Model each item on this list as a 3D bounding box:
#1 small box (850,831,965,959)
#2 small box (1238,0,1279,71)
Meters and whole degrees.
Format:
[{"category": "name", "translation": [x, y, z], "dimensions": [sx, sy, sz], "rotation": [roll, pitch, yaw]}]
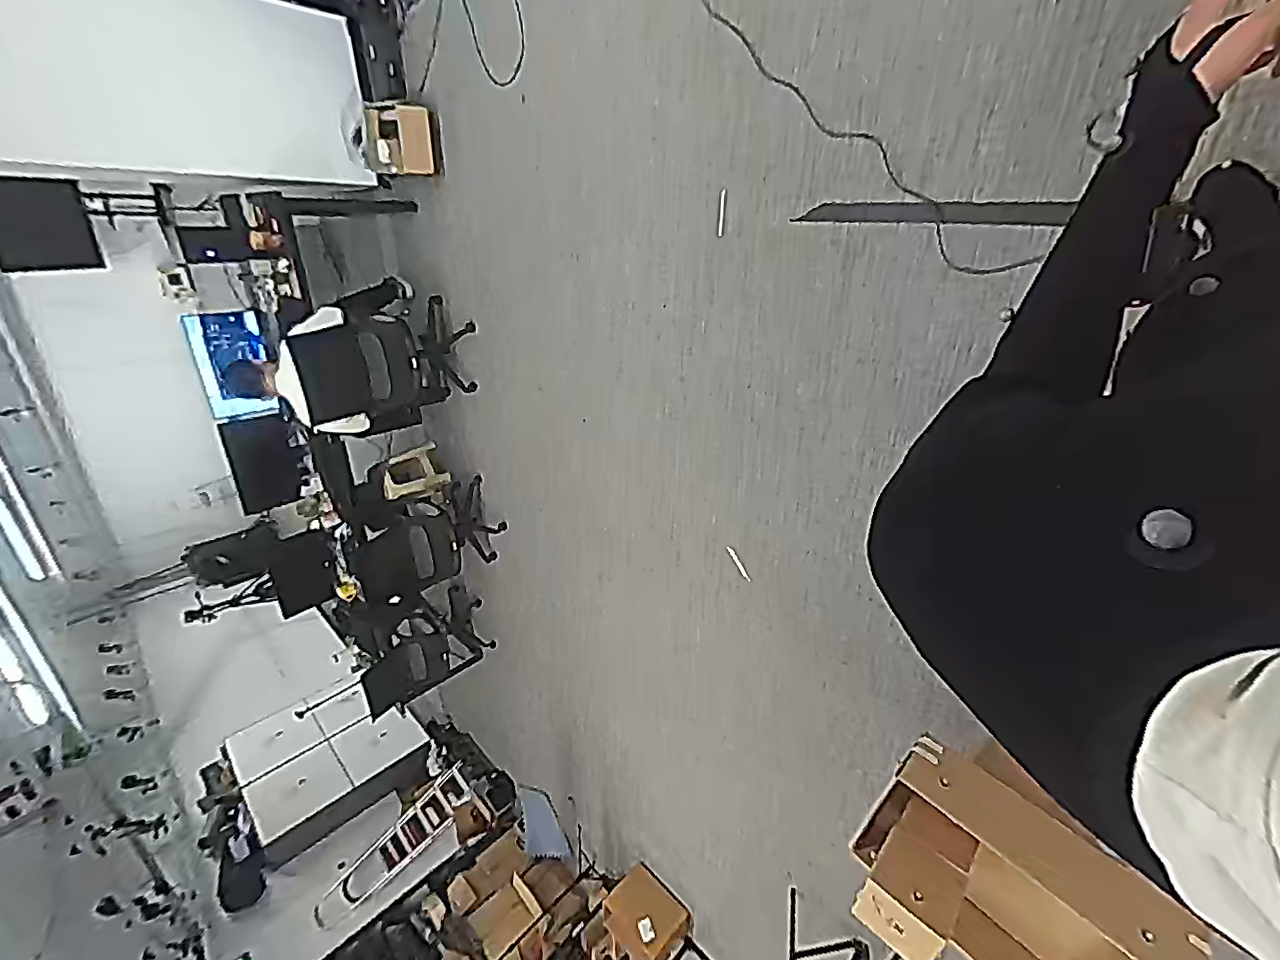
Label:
[{"category": "small box", "translation": [0.634, 0.989, 1.279], "dimensions": [0.179, 0.176, 0.168], "rotation": [29, 128, 36]}, {"category": "small box", "translation": [0.546, -0.443, 0.385], "dimensions": [0.168, 0.176, 0.179], "rotation": [-13, 98, 48]}]
